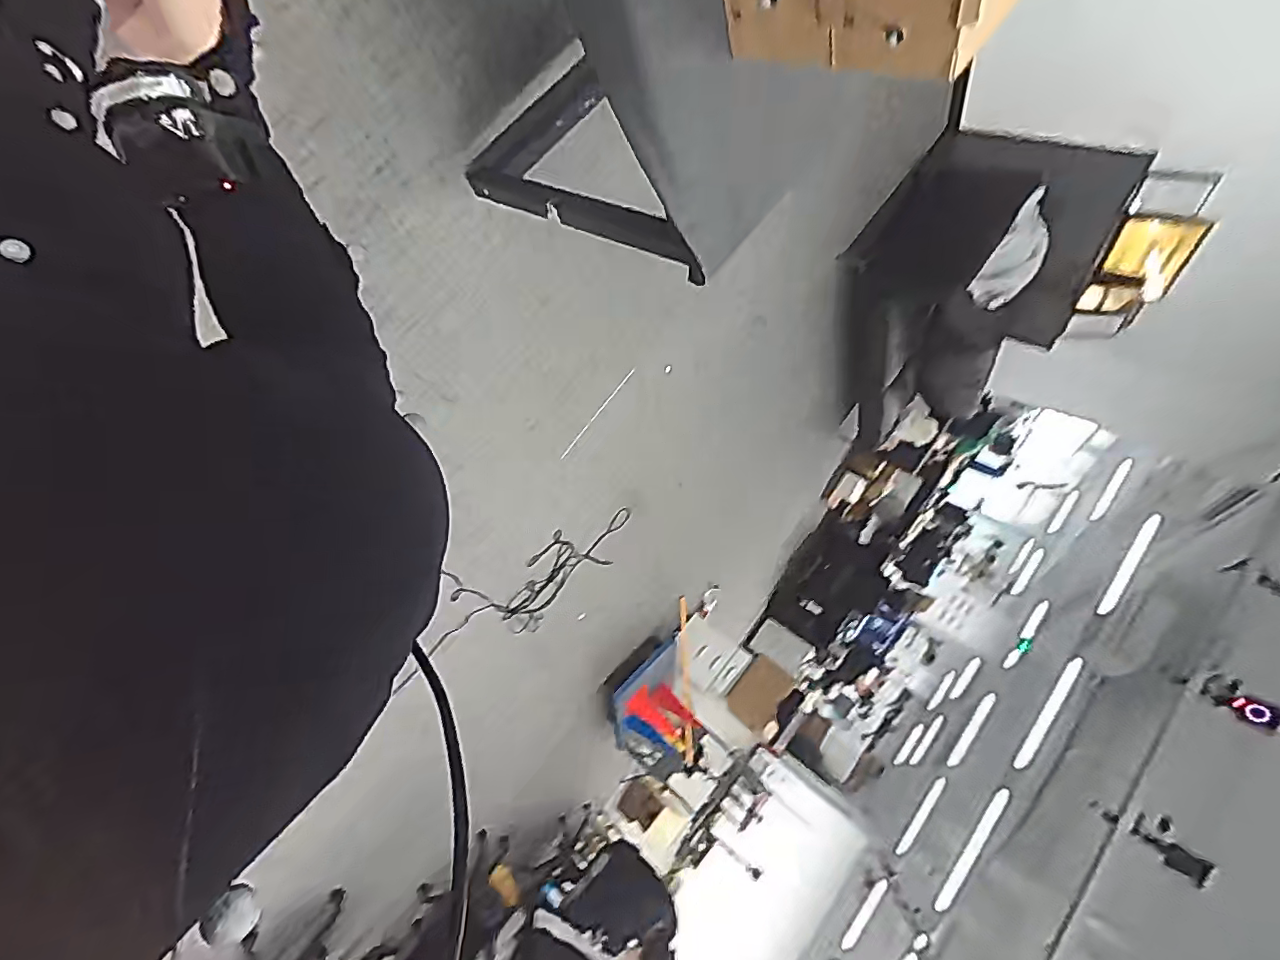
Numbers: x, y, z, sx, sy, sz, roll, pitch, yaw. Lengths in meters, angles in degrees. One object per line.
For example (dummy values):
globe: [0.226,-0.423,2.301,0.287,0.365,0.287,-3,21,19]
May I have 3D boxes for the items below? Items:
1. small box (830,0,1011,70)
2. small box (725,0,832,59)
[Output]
small box: [0.342,-0.630,0.642,0.179,0.176,0.168,-52,150,-12]
small box: [0.221,-0.706,0.720,0.179,0.176,0.168,-52,150,-9]
